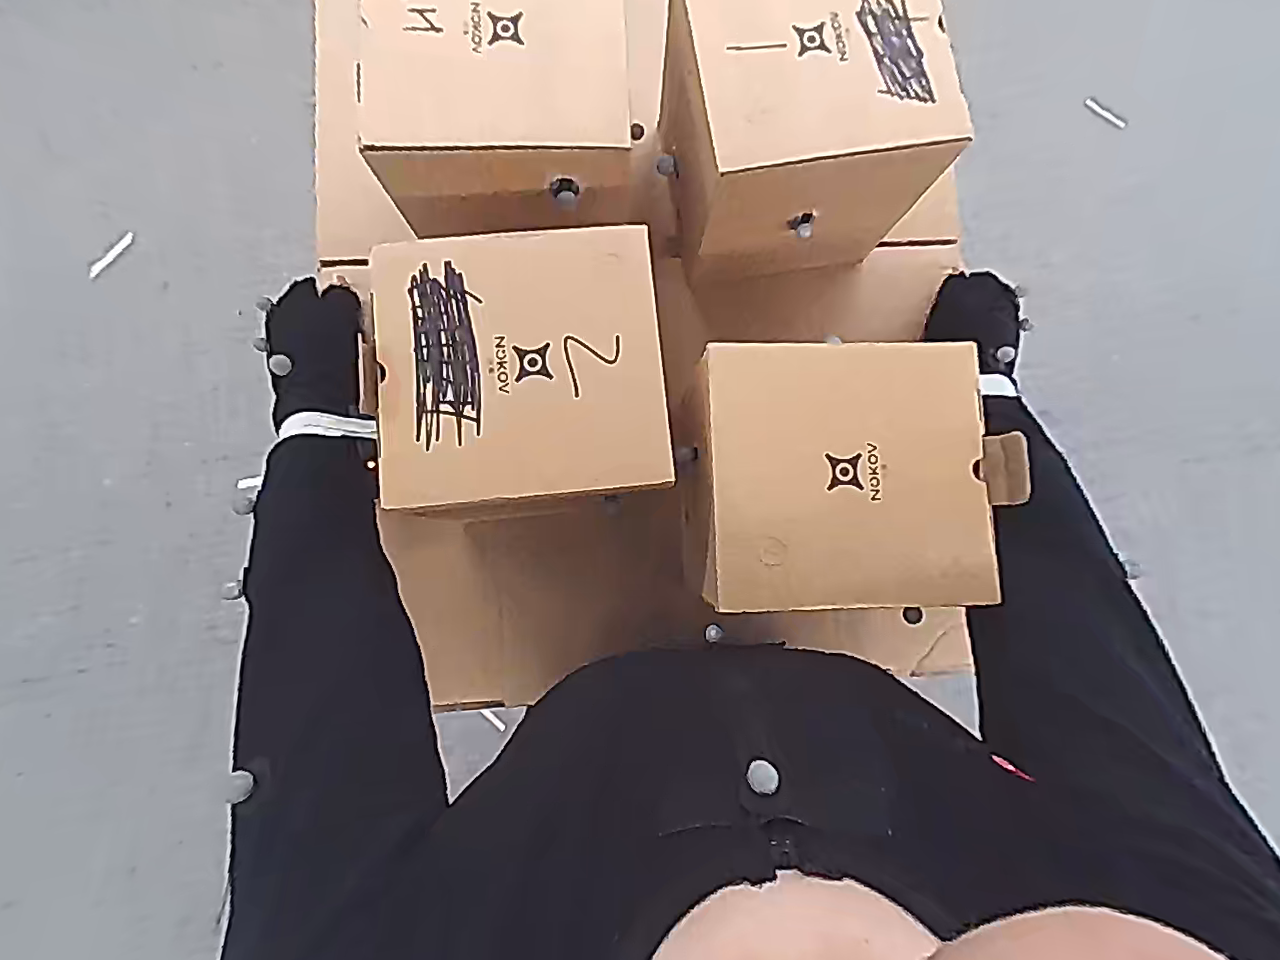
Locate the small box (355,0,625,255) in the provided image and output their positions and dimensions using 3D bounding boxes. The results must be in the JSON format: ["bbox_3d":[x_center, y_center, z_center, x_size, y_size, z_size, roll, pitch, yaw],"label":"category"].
[{"bbox_3d":[-0.103,-0.300,0.438,0.179,0.176,0.168,-2,85,-2],"label":"small box"}]
